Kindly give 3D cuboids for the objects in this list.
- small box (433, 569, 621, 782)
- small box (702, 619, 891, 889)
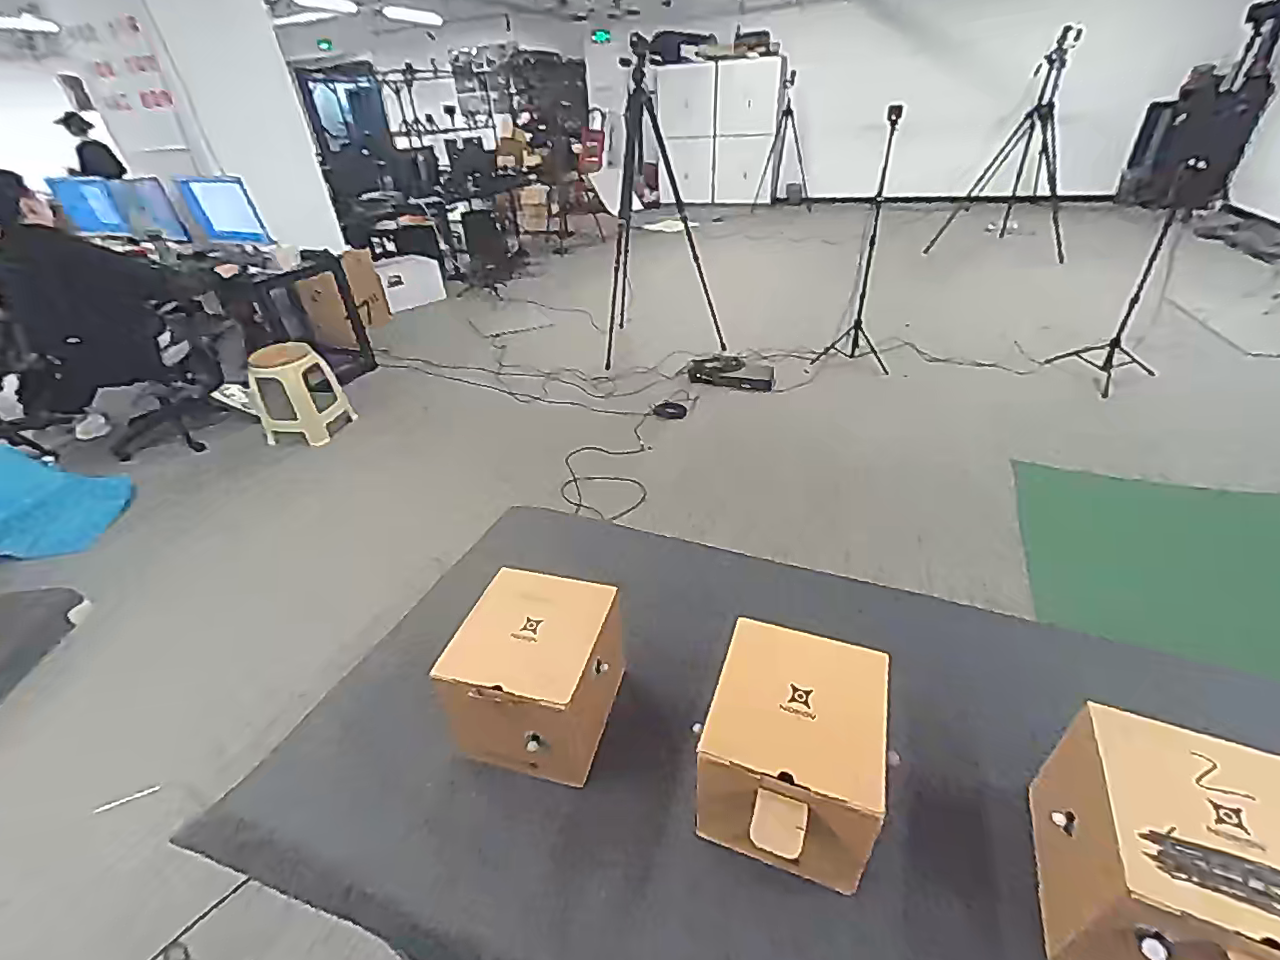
[{"bbox_3d":[-0.124,0.243,0.682,0.168,0.176,0.179,8,35,14],"label":"small box"},{"bbox_3d":[0.165,0.289,0.587,0.168,0.176,0.179,10,37,19],"label":"small box"}]
